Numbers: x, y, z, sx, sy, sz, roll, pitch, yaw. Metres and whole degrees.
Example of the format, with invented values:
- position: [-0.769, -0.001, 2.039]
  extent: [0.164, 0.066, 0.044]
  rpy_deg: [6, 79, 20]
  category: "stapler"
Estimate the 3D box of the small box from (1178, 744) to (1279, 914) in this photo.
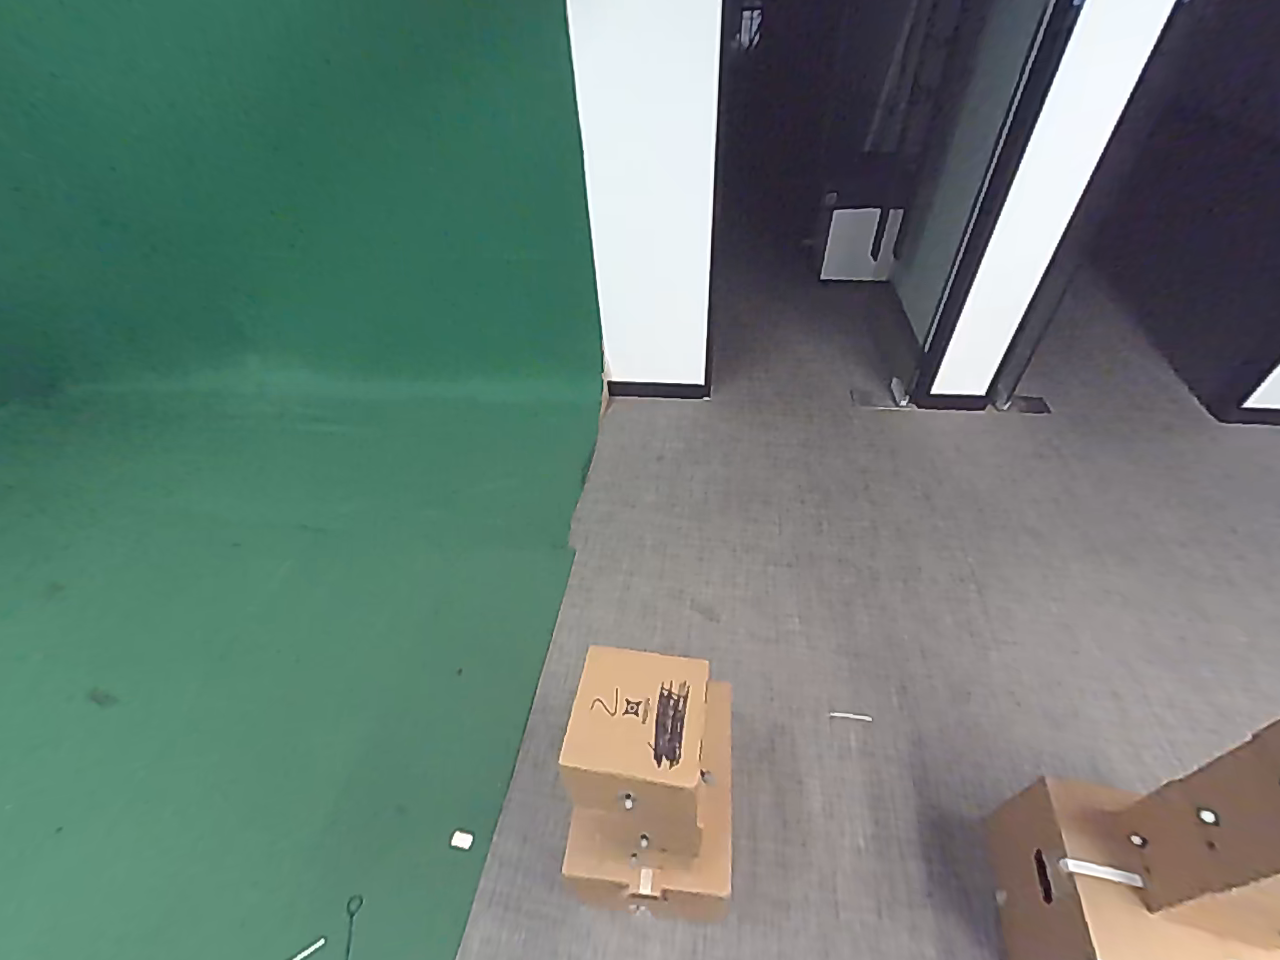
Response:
- position: [0.955, 0.518, 0.778]
  extent: [0.179, 0.176, 0.168]
  rpy_deg: [11, 44, 15]
  category: "small box"

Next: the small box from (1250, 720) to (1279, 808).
- position: [0.948, 0.395, 0.670]
  extent: [0.168, 0.176, 0.179]
  rpy_deg: [11, 44, 13]
  category: "small box"

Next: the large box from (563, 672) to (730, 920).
- position: [0.036, 0.707, 1.225]
  extent: [0.320, 0.320, 0.408]
  rpy_deg: [3, 44, 7]
  category: "large box"

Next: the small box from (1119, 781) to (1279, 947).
- position: [0.959, 0.636, 0.893]
  extent: [0.179, 0.176, 0.168]
  rpy_deg: [10, 44, 14]
  category: "small box"

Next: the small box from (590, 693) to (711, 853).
- position: [0.025, 0.476, 0.876]
  extent: [0.168, 0.176, 0.179]
  rpy_deg: [5, 44, 8]
  category: "small box"

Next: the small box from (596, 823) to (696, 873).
- position: [0.025, 0.593, 0.993]
  extent: [0.168, 0.176, 0.179]
  rpy_deg: [4, 44, 8]
  category: "small box"
